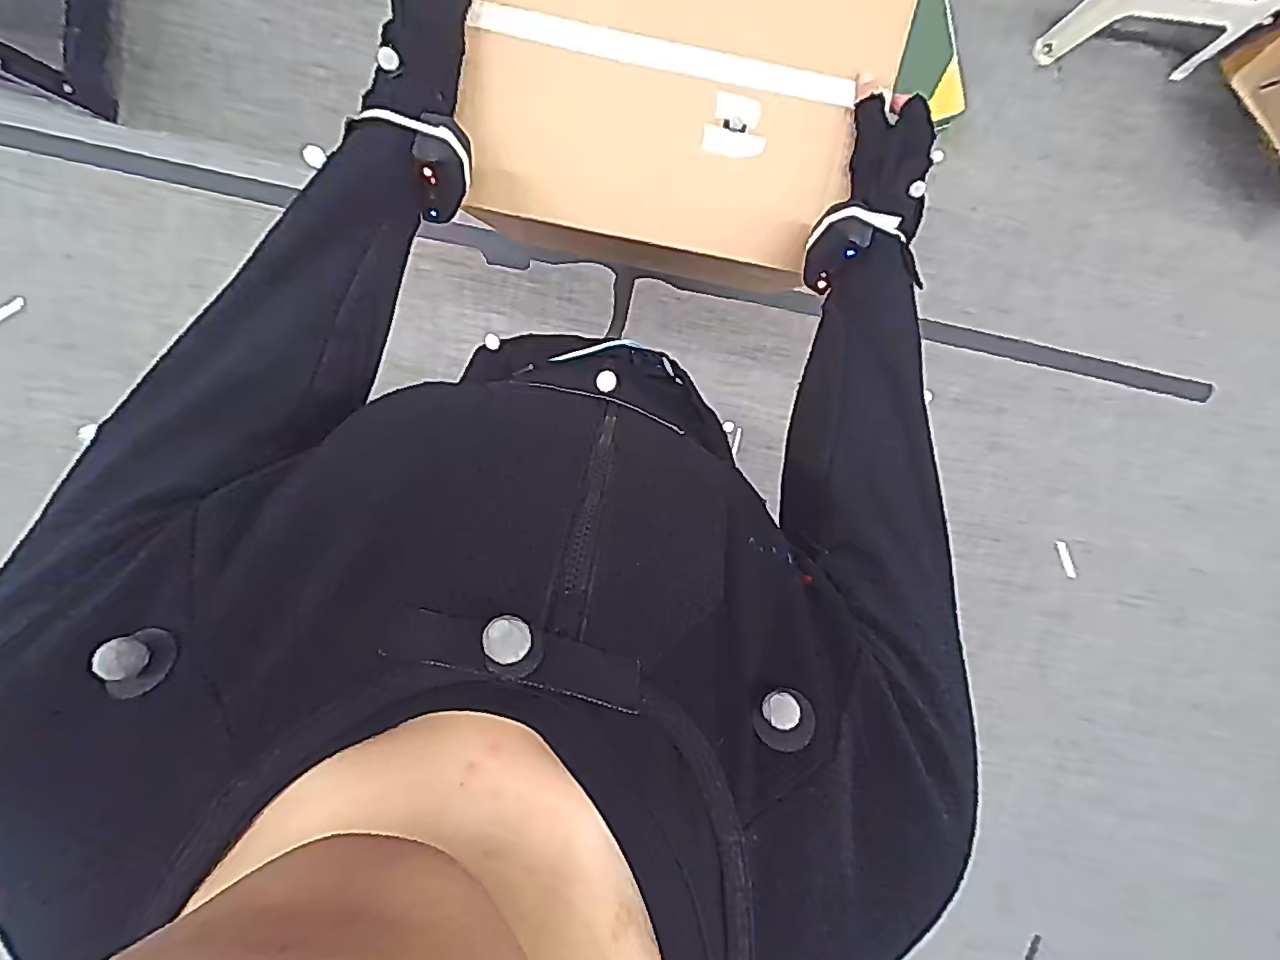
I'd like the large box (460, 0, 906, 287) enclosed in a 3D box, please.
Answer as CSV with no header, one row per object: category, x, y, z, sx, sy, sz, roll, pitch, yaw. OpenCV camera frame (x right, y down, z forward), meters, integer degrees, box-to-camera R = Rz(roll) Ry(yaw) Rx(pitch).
large box,0.032,-0.434,0.656,0.408,0.320,0.320,10,108,-4
